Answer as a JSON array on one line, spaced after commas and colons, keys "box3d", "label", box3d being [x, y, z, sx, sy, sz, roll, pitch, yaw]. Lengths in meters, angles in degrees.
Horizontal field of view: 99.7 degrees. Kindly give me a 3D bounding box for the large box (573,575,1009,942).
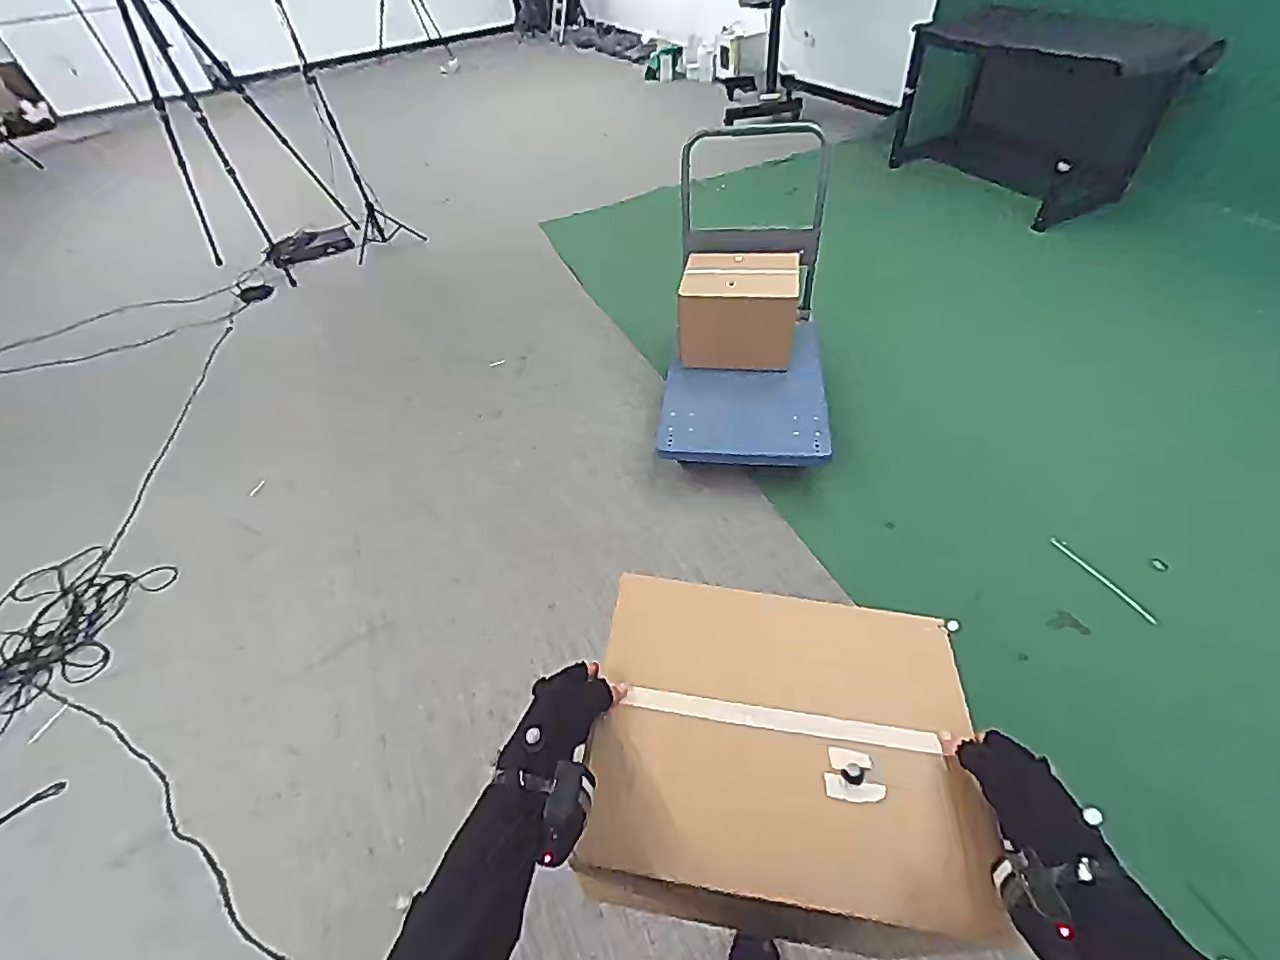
[{"box3d": [0.142, 0.357, 0.696, 0.408, 0.320, 0.320, 8, 48, 3], "label": "large box"}]
